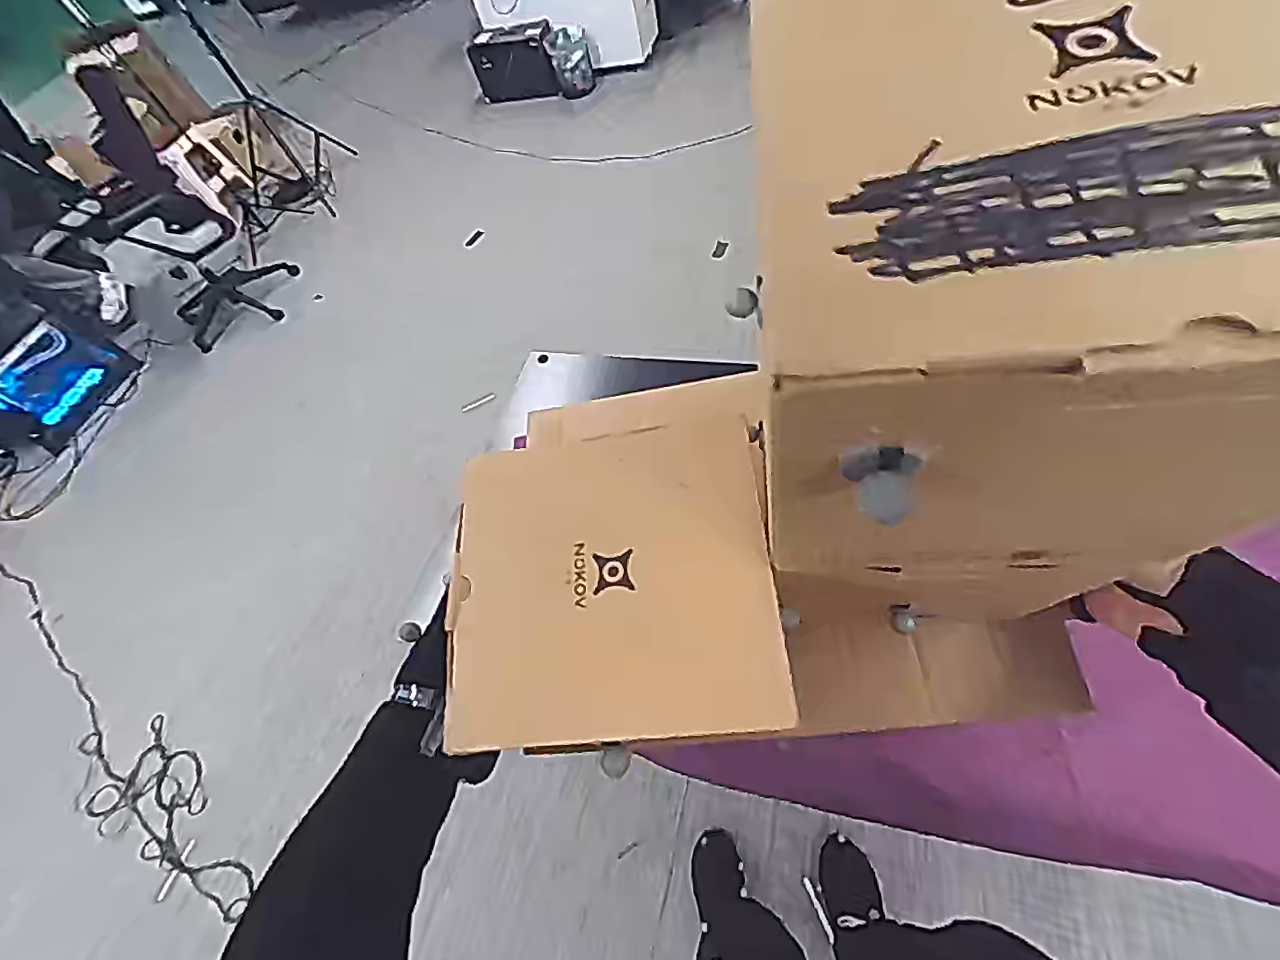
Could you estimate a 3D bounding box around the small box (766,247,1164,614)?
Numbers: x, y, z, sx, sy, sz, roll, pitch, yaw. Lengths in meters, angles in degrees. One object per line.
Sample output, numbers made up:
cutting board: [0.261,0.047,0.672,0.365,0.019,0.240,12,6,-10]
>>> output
small box: [0.170,-0.016,0.355,0.168,0.176,0.179,-3,67,13]

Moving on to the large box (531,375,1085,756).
large box: [0.130,0.102,0.588,0.408,0.320,0.320,-10,64,10]
